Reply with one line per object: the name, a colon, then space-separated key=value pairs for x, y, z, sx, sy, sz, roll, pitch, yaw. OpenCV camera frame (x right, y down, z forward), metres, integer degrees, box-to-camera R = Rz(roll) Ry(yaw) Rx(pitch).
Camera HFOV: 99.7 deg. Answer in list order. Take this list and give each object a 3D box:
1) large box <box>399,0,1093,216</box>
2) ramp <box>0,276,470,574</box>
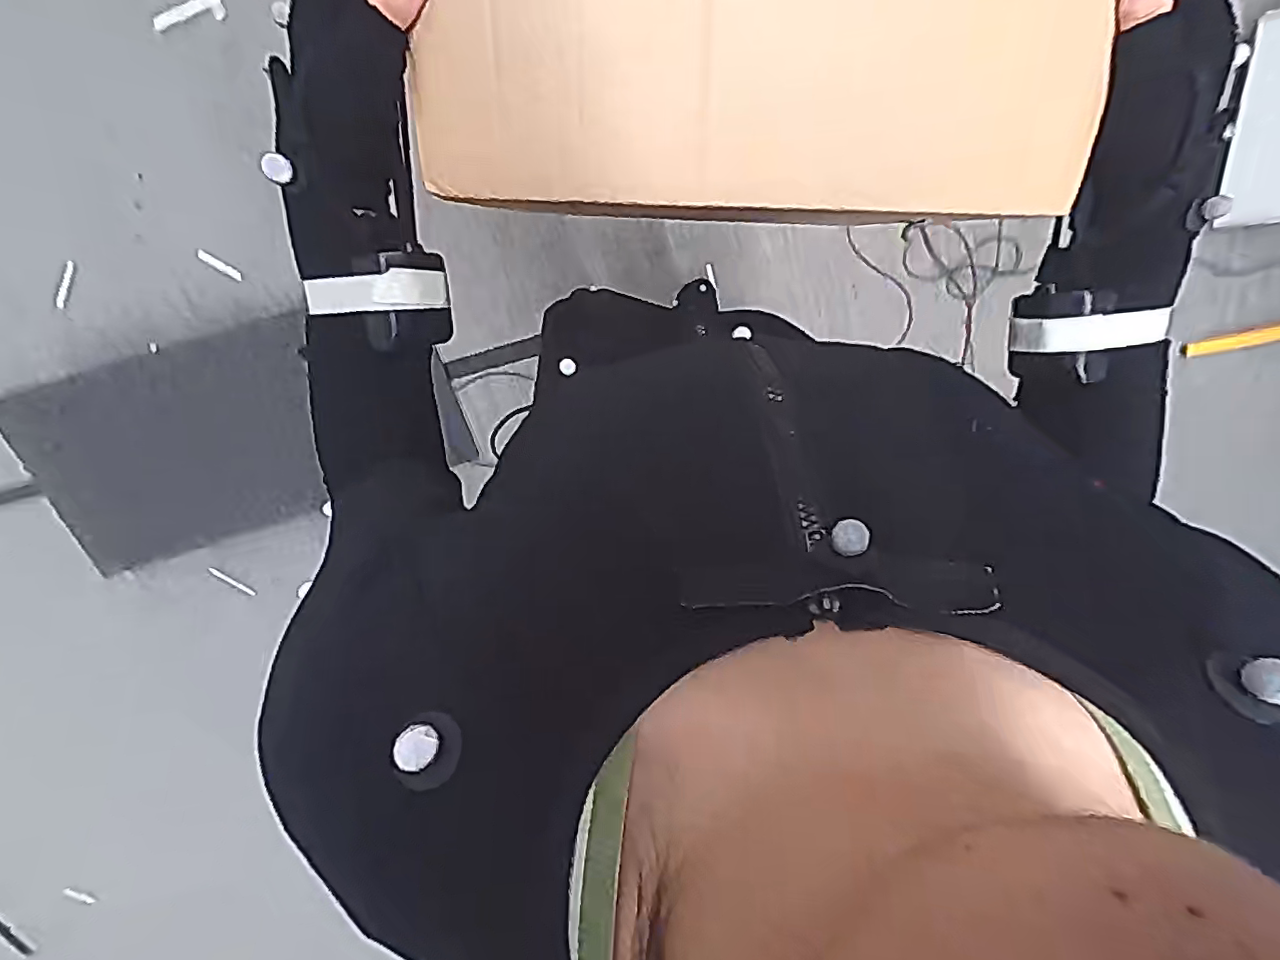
large box: x=0.060 y=-0.378 z=0.418 sx=0.408 sy=0.320 sz=0.320 roll=-1 pitch=114 yaw=-3
ramp: x=-1.000 y=-0.135 z=1.366 sx=0.991 sy=0.206 sz=0.509 roll=-17 pitch=109 yaw=4
